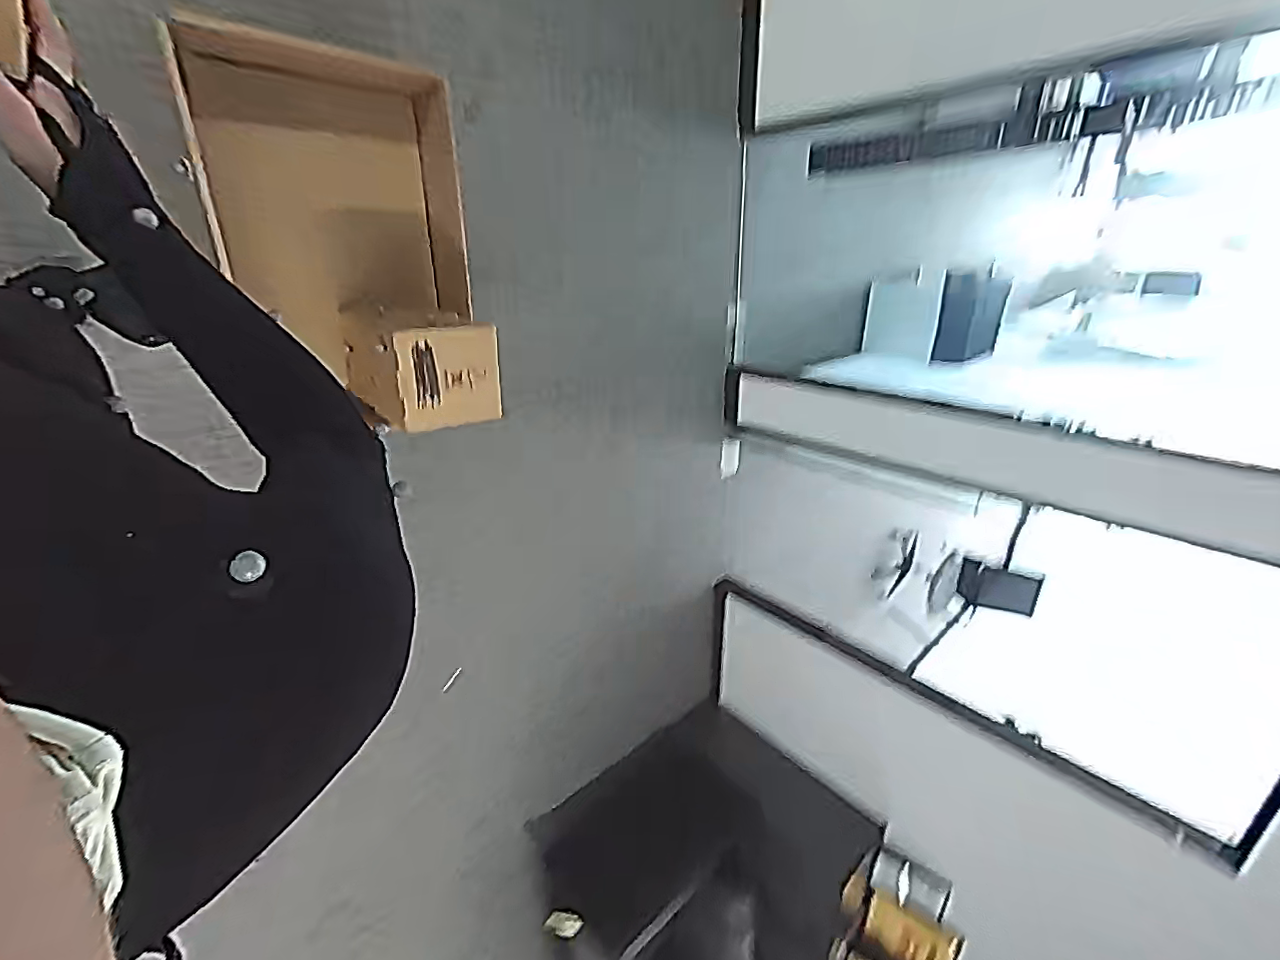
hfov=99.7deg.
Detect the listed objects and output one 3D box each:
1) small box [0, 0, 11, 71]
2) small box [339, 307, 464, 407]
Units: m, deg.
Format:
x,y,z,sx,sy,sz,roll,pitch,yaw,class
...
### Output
x,y,z,sx,sy,sz,roll,pitch,yaw,class
-0.539,-0.381,0.338,0.179,0.176,0.168,-9,118,-49,small box
-0.475,-0.254,1.082,0.179,0.176,0.168,-16,119,-38,small box
